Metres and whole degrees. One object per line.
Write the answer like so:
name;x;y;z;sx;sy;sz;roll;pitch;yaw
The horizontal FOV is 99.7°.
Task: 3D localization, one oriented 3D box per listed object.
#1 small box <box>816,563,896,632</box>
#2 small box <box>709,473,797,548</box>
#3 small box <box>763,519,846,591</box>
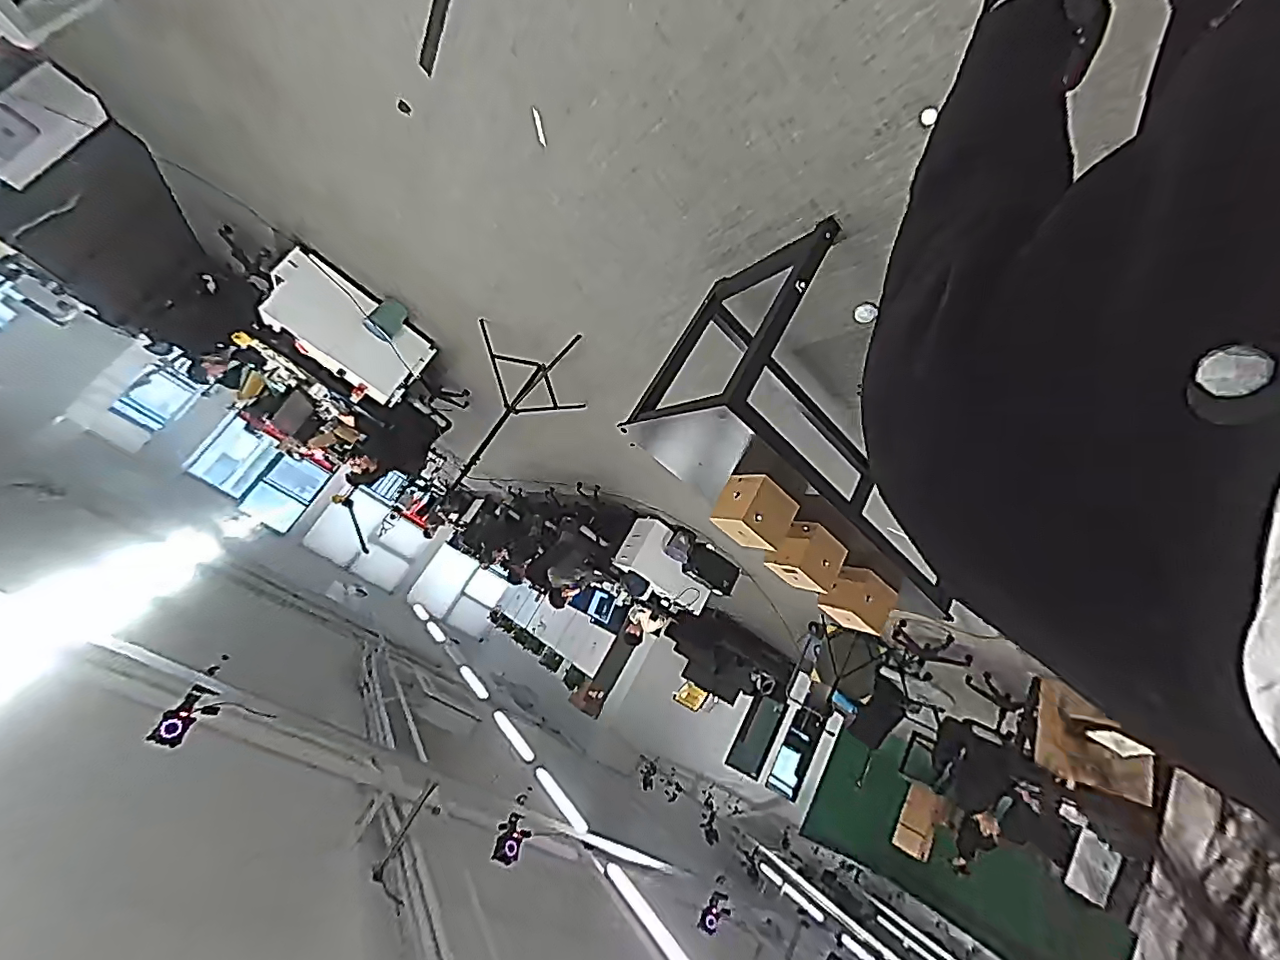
small box;0.766;0.409;1.912;0.179;0.176;0.168;37;163;-22
small box;0.354;0.091;1.691;0.179;0.176;0.168;38;163;-23
small box;0.549;0.243;1.801;0.179;0.176;0.168;38;162;-25
